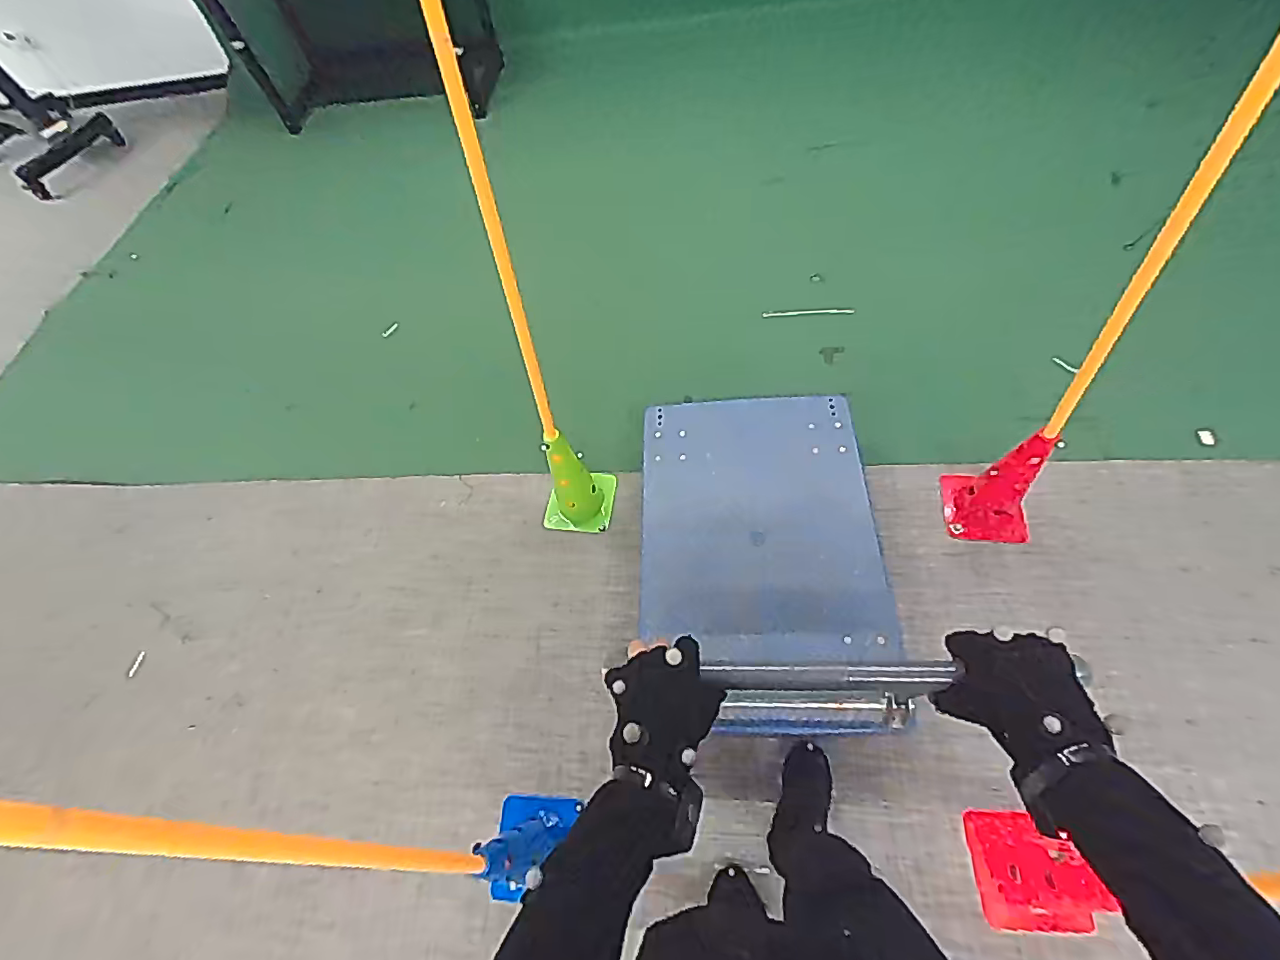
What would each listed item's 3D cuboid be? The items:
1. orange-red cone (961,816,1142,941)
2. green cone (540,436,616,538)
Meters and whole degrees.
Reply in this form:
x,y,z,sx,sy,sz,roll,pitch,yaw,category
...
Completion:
x,y,z,sx,sy,sz,roll,pitch,yaw,category
0.748,0.711,0.949,0.199,0.360,0.198,-2,58,9,orange-red cone
-0.204,-0.005,1.518,0.202,0.368,0.200,3,59,11,green cone
